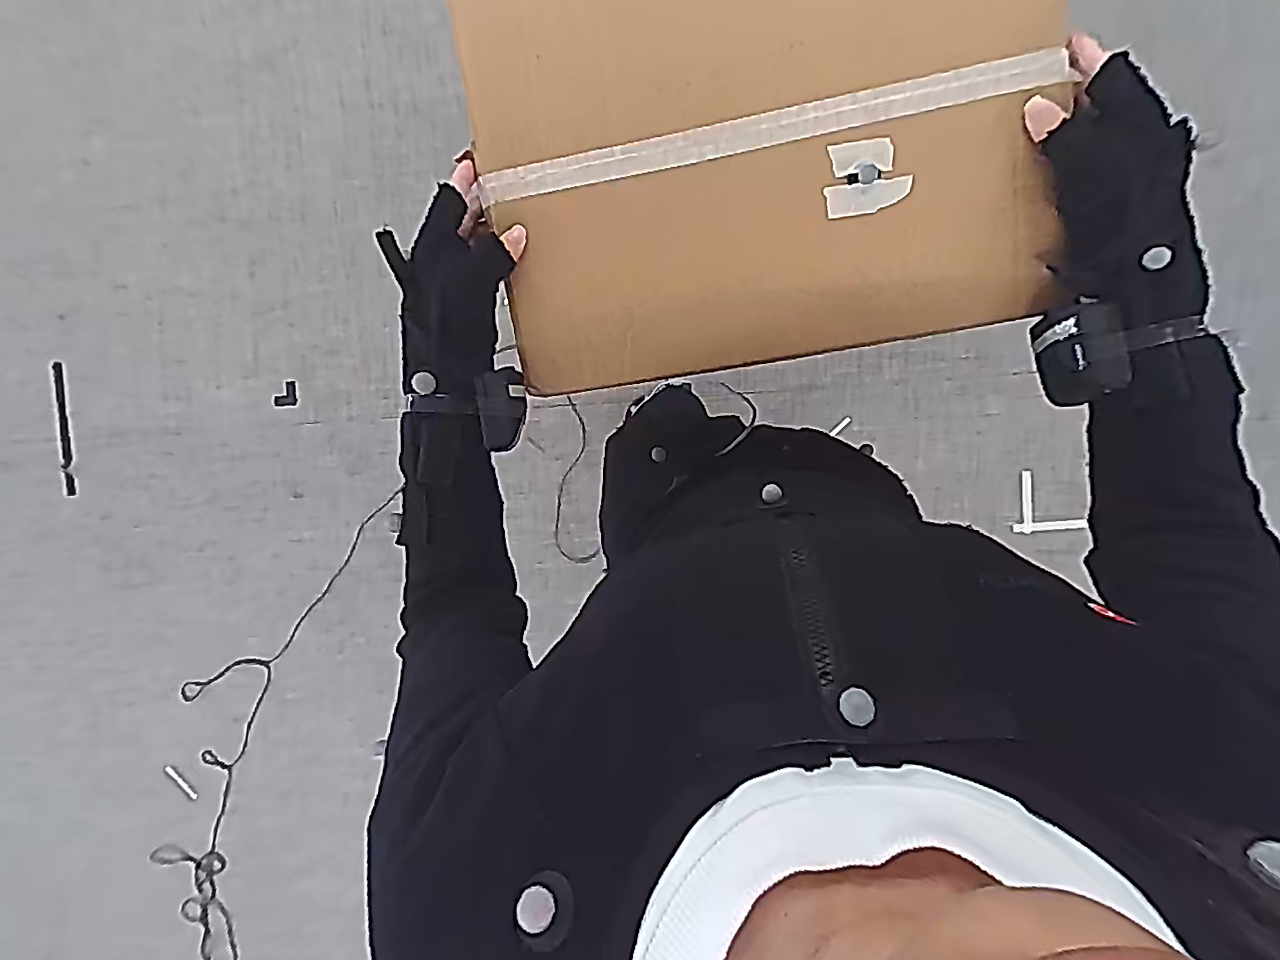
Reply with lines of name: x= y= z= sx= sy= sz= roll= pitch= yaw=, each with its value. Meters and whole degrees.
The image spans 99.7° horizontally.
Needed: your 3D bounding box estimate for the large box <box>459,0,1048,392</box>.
large box: x=0.094 y=-0.277 z=0.545 sx=0.408 sy=0.320 sz=0.320 roll=-8 pitch=100 yaw=6
